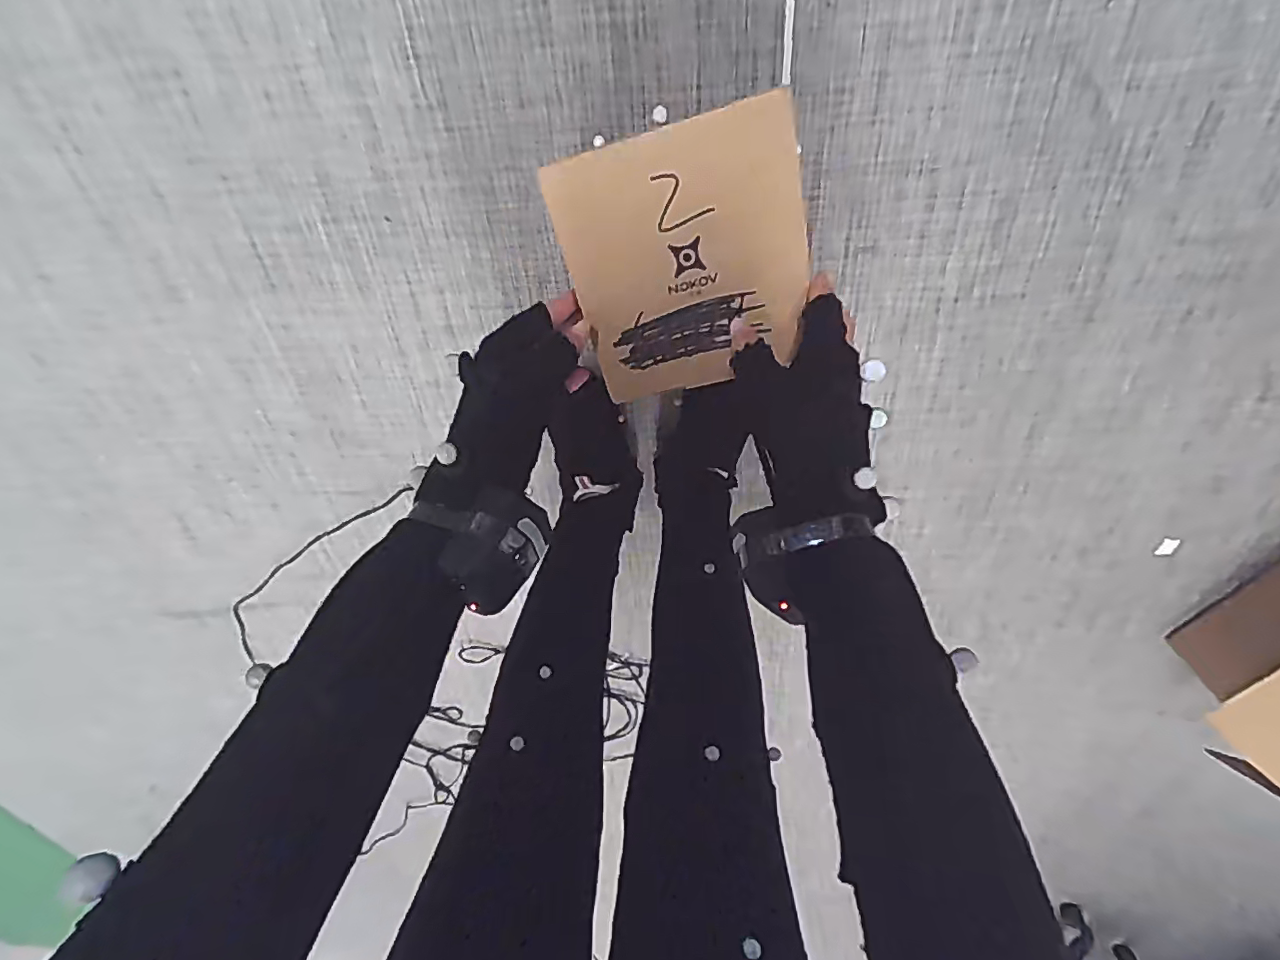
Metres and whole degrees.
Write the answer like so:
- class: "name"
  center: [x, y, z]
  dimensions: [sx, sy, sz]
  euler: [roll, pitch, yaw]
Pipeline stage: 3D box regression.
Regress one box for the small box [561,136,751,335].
- class: "small box"
  center: [0.026, -0.272, 0.595]
  dimensions: [0.179, 0.176, 0.168]
  euler: [-3, 123, 8]
